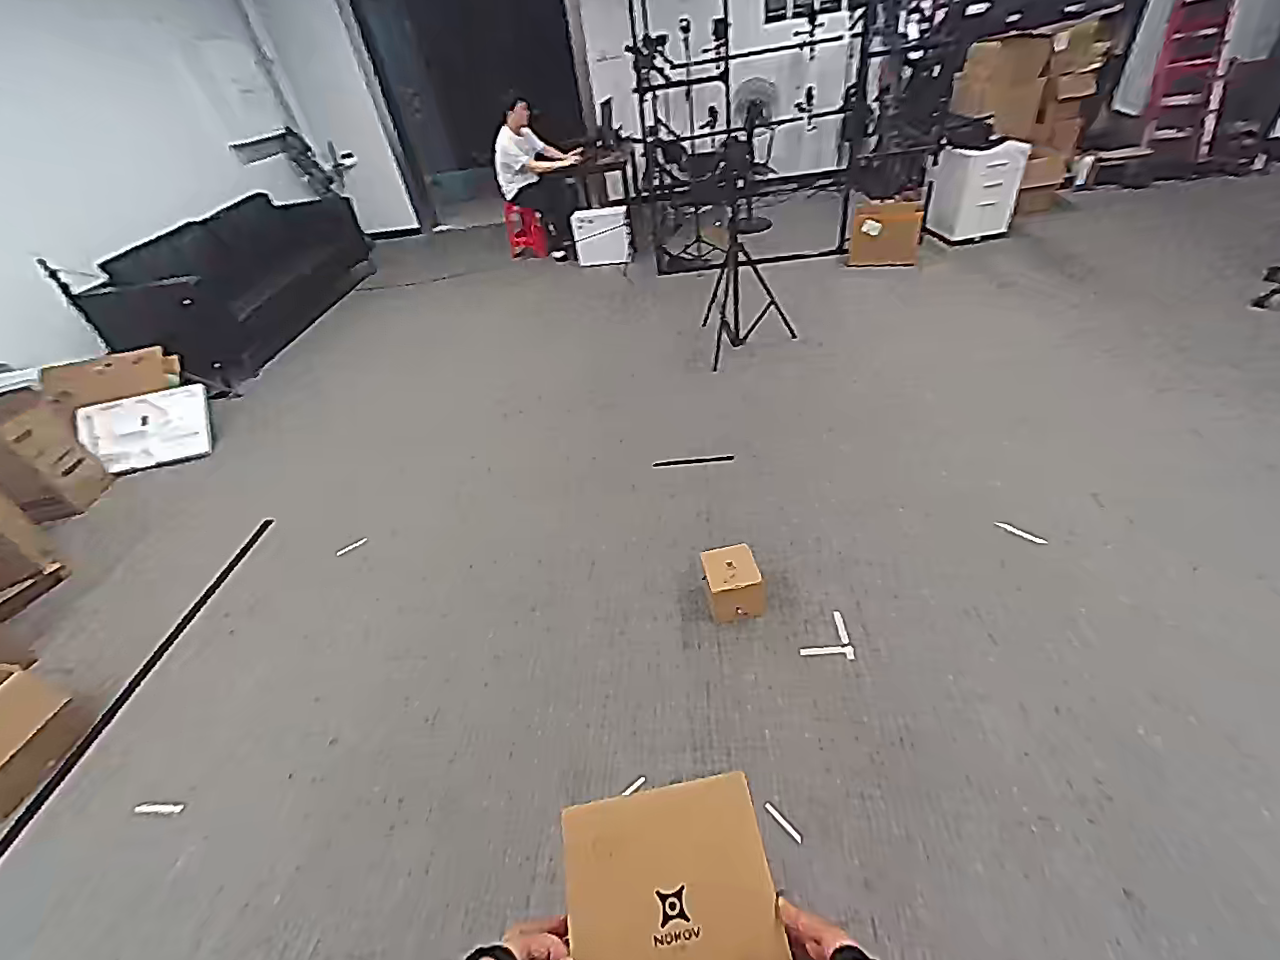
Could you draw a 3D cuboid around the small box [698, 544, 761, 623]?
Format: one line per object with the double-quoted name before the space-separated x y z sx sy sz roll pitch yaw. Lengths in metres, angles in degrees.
"small box" 0.295 0.345 1.796 0.168 0.176 0.179 -12 39 -2
